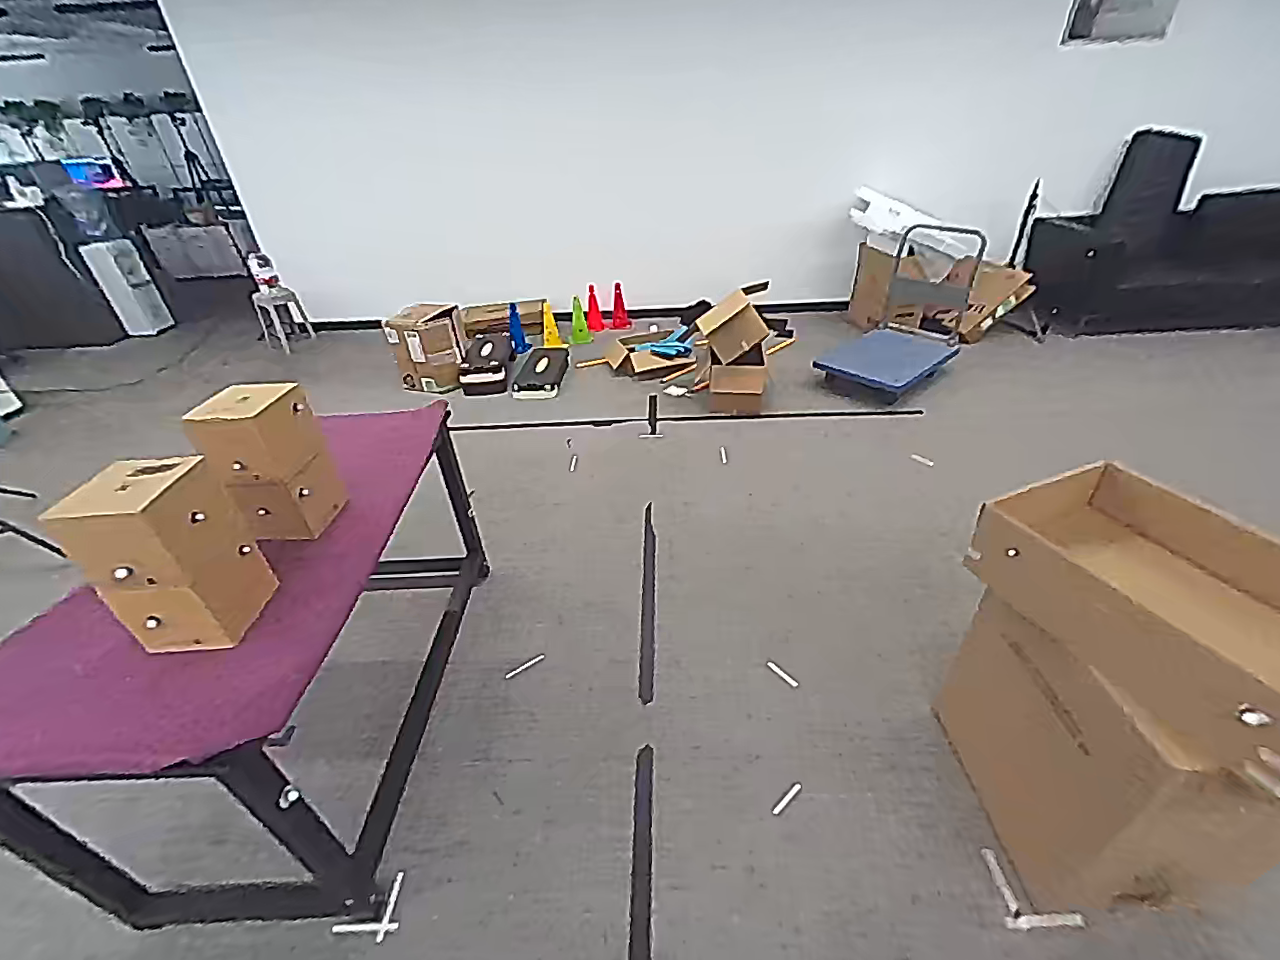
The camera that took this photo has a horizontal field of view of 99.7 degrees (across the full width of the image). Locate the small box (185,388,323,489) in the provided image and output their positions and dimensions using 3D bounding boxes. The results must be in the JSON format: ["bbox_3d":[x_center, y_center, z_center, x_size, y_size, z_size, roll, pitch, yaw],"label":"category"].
[{"bbox_3d":[-0.859,-0.097,1.231,0.168,0.176,0.179,-2,34,5],"label":"small box"}]

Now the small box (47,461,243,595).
[{"bbox_3d":[-0.863,0.084,0.971,0.168,0.176,0.179,-4,34,-1],"label":"small box"}]

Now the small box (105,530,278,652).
[{"bbox_3d":[-0.859,0.221,1.062,0.168,0.176,0.179,-4,34,-1],"label":"small box"}]
